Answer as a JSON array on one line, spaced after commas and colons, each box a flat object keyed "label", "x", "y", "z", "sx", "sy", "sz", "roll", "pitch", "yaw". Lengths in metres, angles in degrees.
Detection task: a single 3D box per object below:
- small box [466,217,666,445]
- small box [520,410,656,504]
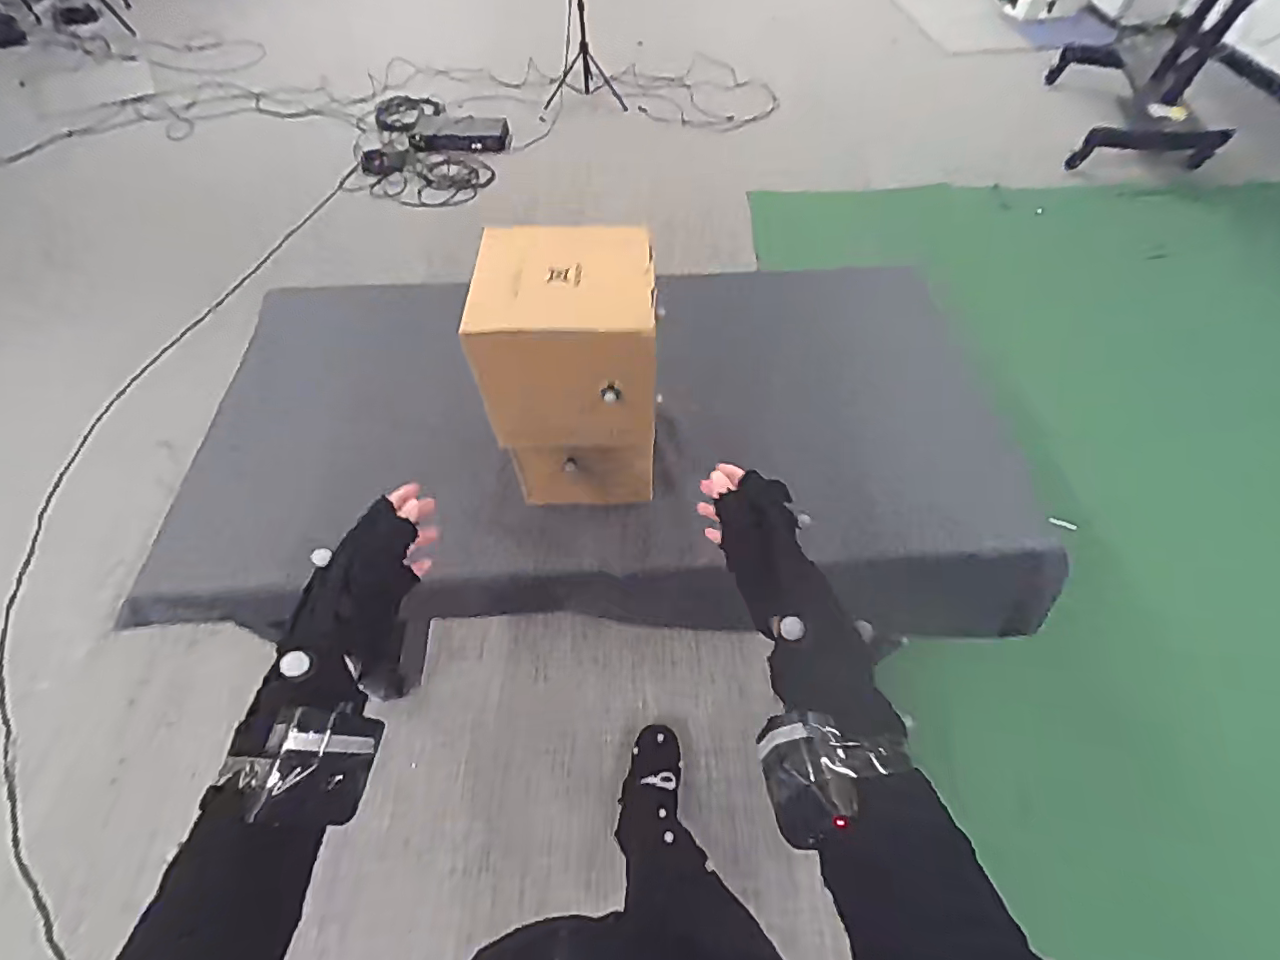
[{"label": "small box", "x": -0.071, "y": -0.153, "z": 0.578, "sx": 0.179, "sy": 0.176, "sz": 0.168, "roll": -4, "pitch": 56, "yaw": -3}, {"label": "small box", "x": -0.070, "y": -0.078, "z": 0.745, "sx": 0.179, "sy": 0.176, "sz": 0.168, "roll": -4, "pitch": 55, "yaw": -2}]
